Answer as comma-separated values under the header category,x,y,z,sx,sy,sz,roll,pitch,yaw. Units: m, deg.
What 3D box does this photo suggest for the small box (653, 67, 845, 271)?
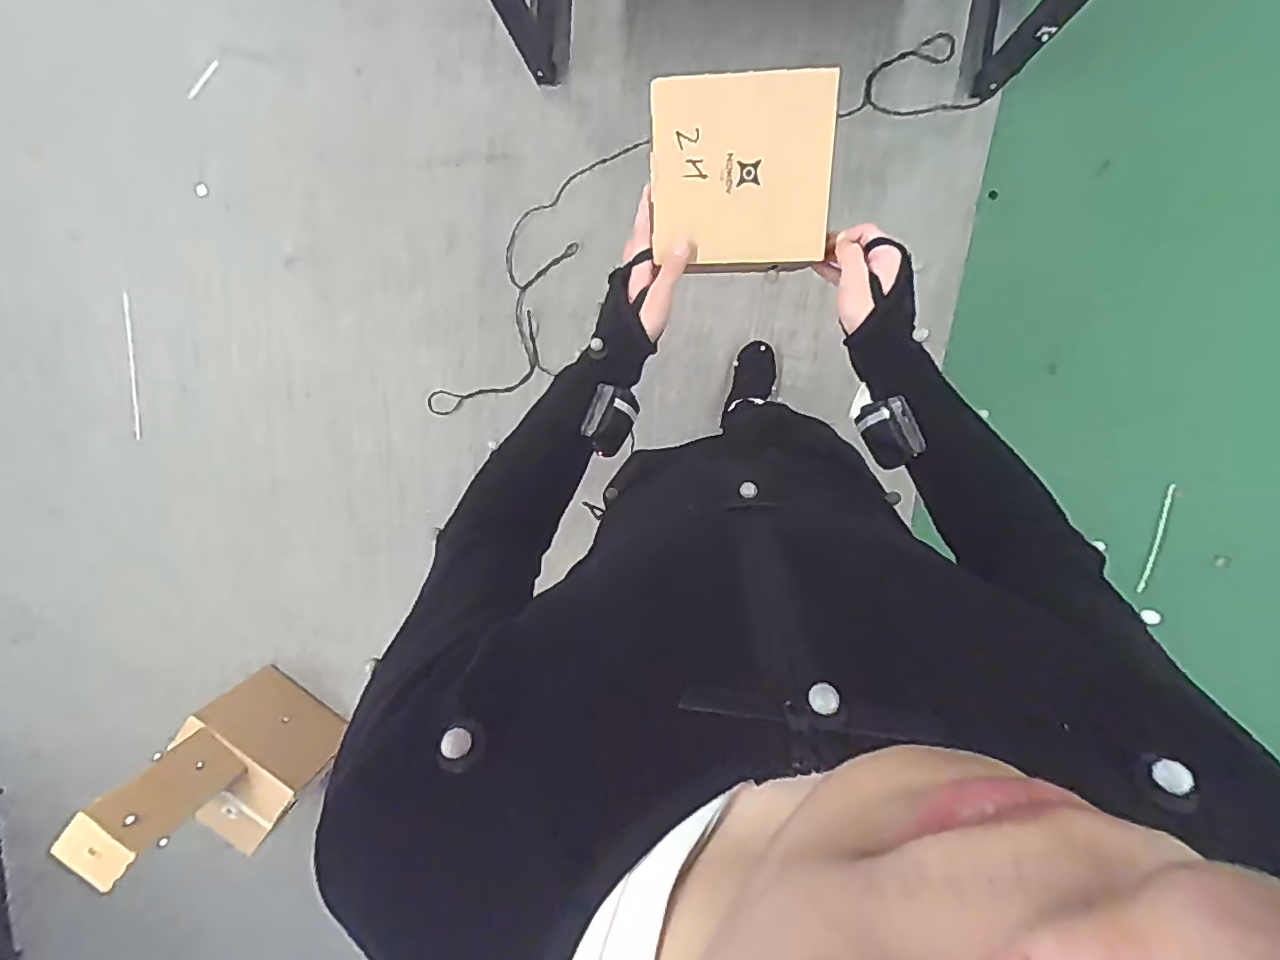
category,x,y,z,sx,sy,sz,roll,pitch,yaw
small box,0.106,-0.322,0.592,0.179,0.176,0.168,1,108,6

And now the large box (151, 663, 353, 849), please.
category,x,y,z,sx,sy,sz,roll,pitch,yaw
large box,-1.281,0.904,1.809,0.408,0.320,0.320,38,103,-3

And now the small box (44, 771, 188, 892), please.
category,x,y,z,sx,sy,sz,roll,pitch,yaw
small box,-1.342,0.892,1.396,0.179,0.176,0.168,42,101,-4
